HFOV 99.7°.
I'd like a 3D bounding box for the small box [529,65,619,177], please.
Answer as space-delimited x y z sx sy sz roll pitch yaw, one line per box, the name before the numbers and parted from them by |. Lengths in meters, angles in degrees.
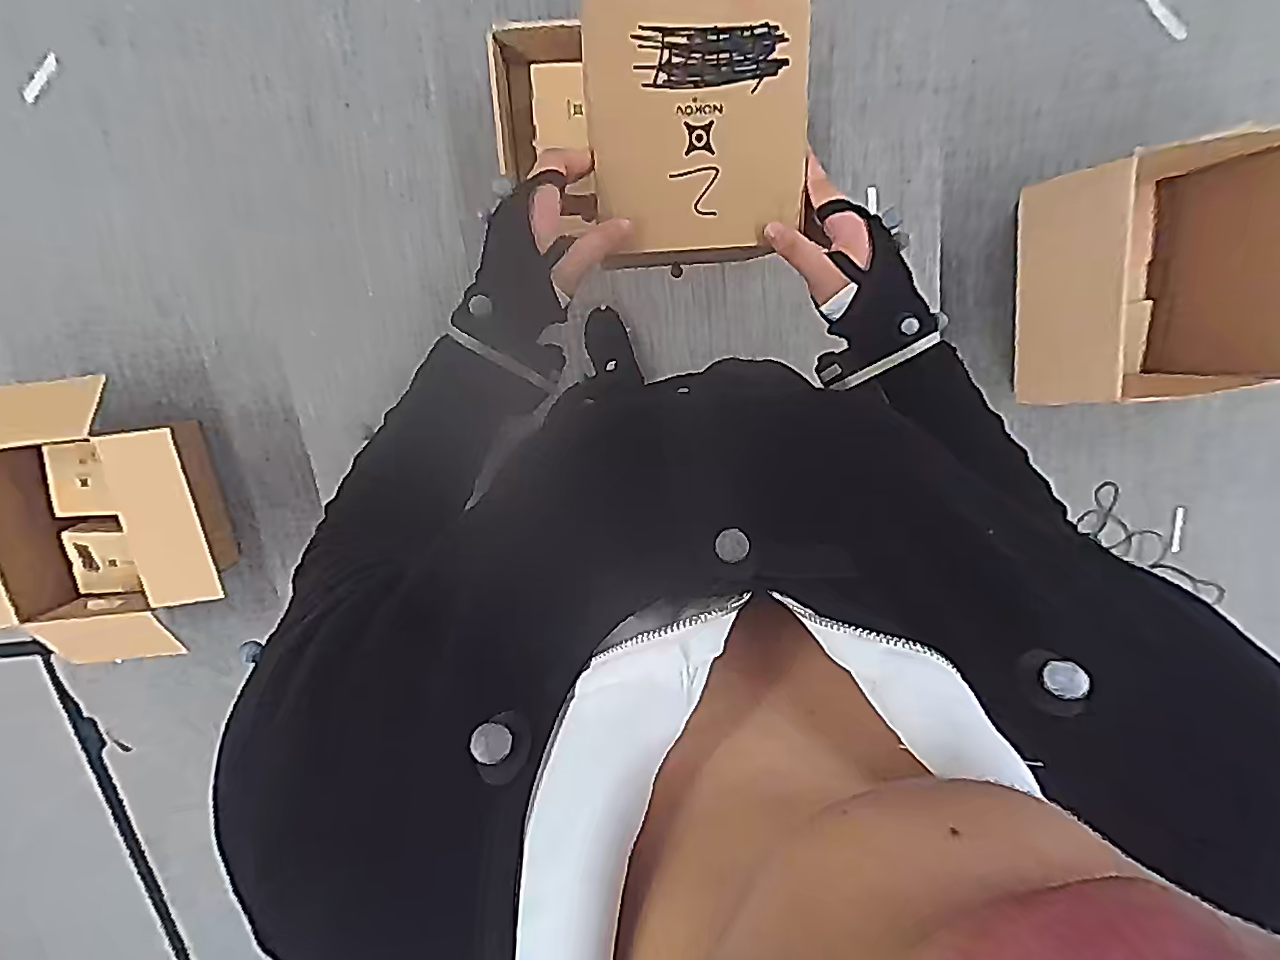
small box | -0.137 -0.776 1.185 0.179 0.176 0.168 -4 106 -3
